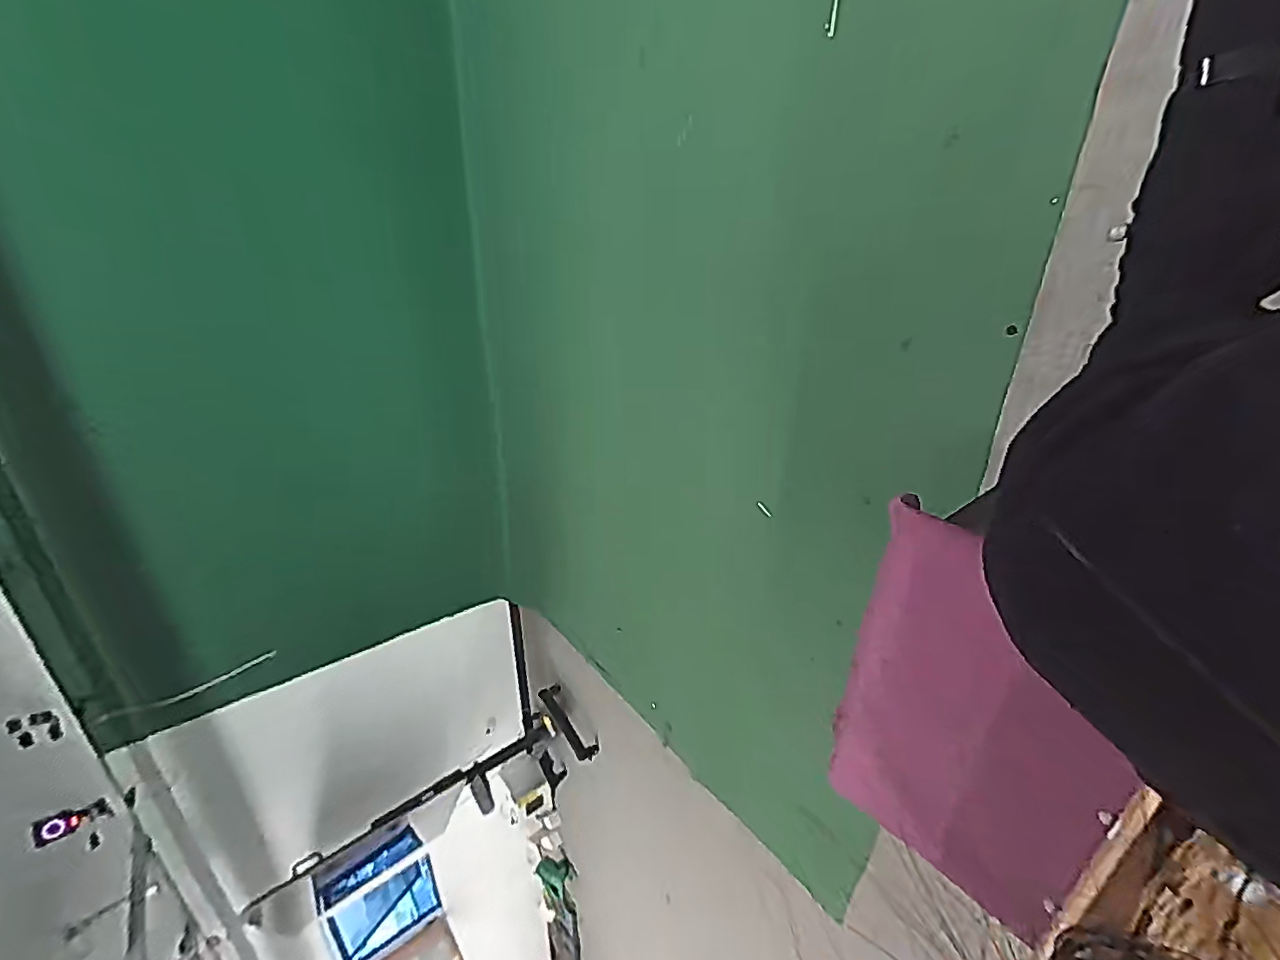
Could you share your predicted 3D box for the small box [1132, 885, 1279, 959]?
[{"bbox_3d":[0.505,0.464,0.415,0.179,0.176,0.168,29,128,41],"label":"small box"}]
